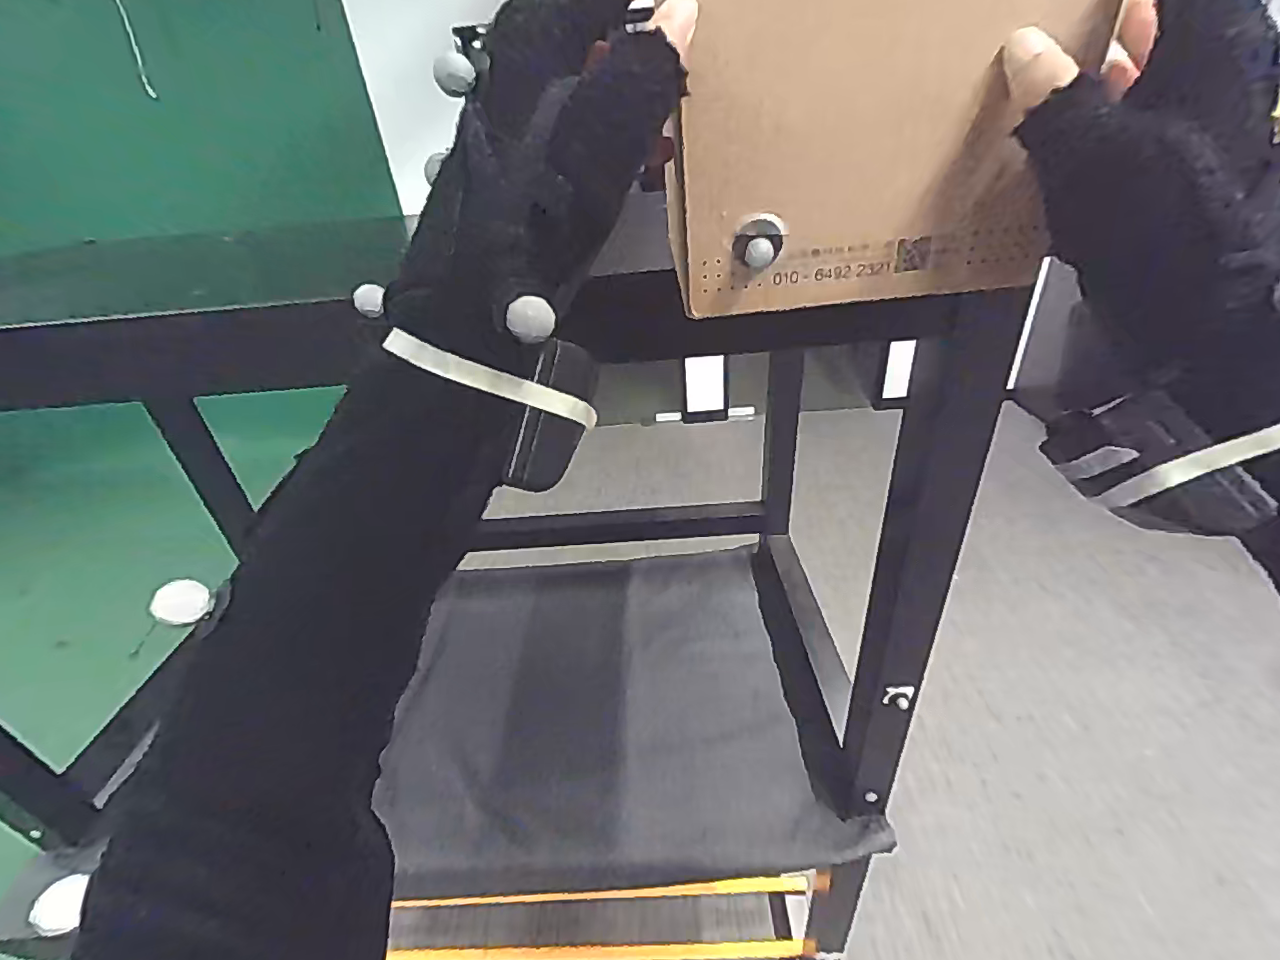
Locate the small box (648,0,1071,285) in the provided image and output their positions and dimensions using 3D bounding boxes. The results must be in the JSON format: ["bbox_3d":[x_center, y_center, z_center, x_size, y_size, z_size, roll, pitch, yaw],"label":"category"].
[{"bbox_3d":[0.092,-0.208,0.287,0.168,0.176,0.179,-4,34,3],"label":"small box"}]
